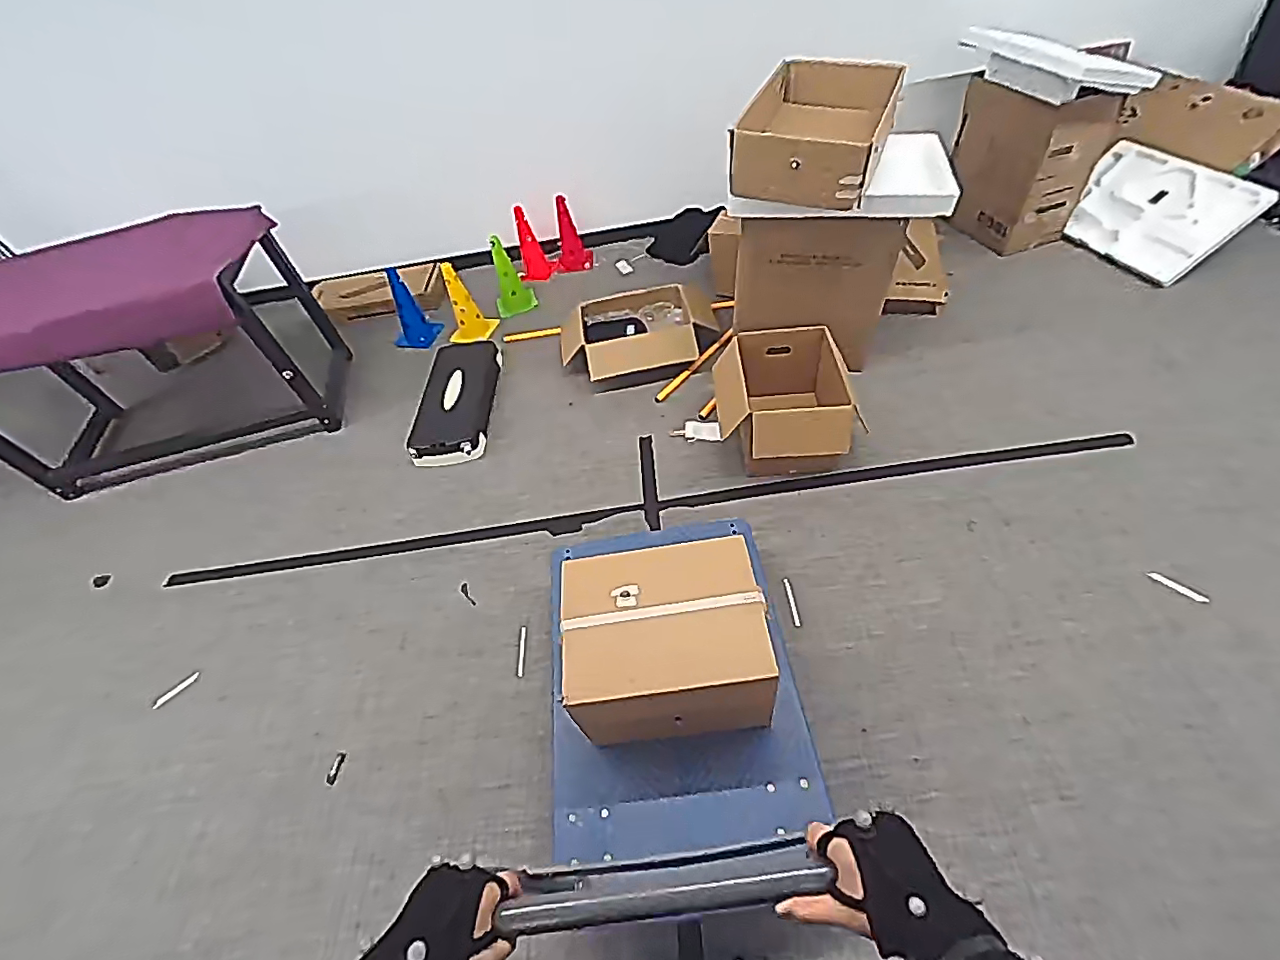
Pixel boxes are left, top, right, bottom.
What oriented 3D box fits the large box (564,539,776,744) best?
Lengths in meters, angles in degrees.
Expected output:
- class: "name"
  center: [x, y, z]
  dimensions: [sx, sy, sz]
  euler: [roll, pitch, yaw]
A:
- class: "large box"
  center: [0.065, 0.372, 1.218]
  dimensions: [0.408, 0.320, 0.320]
  euler: [-10, 49, 3]
